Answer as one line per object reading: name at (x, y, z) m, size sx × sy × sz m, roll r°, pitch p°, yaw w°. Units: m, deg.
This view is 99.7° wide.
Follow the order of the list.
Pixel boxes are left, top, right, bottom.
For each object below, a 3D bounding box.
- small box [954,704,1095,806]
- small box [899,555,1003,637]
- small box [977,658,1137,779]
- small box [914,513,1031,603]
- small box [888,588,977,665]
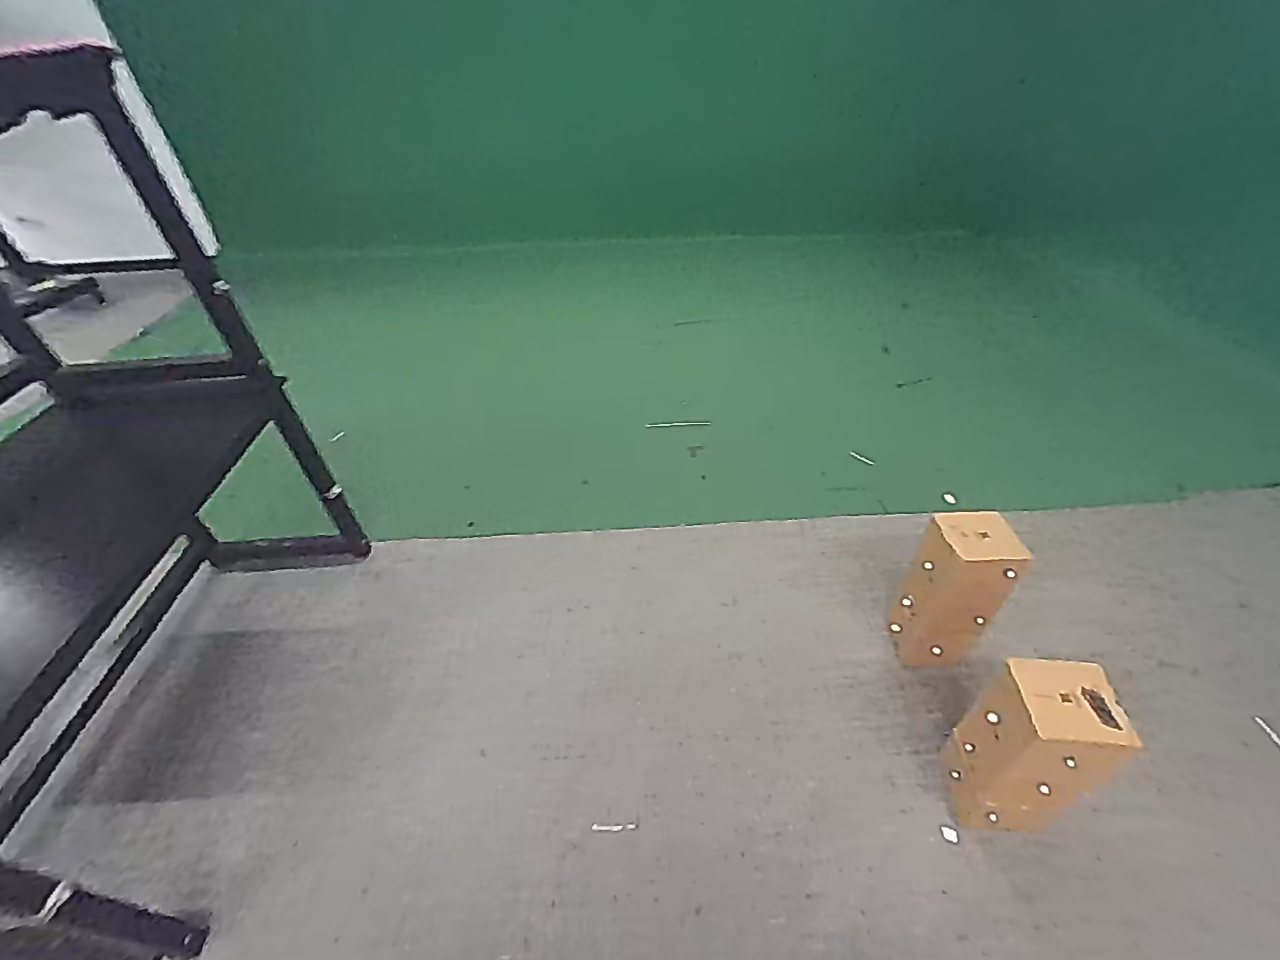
small box at (0.839, 0.605, 1.202) m, size 0.179 × 0.176 × 0.168 m, roll 2°, pitch 43°, yaw 6°
small box at (0.857, 0.323, 1.511) m, size 0.179 × 0.176 × 0.168 m, roll -3°, pitch 41°, yaw 1°
small box at (0.824, 0.484, 1.092) m, size 0.179 × 0.176 × 0.168 m, roll 2°, pitch 43°, yaw 8°
small box at (0.848, 0.202, 1.398) m, size 0.179 × 0.176 × 0.168 m, roll -2°, pitch 41°, yaw 0°
small box at (0.864, 0.441, 1.622) m, size 0.179 × 0.176 × 0.168 m, roll -1°, pitch 42°, yaw 3°
